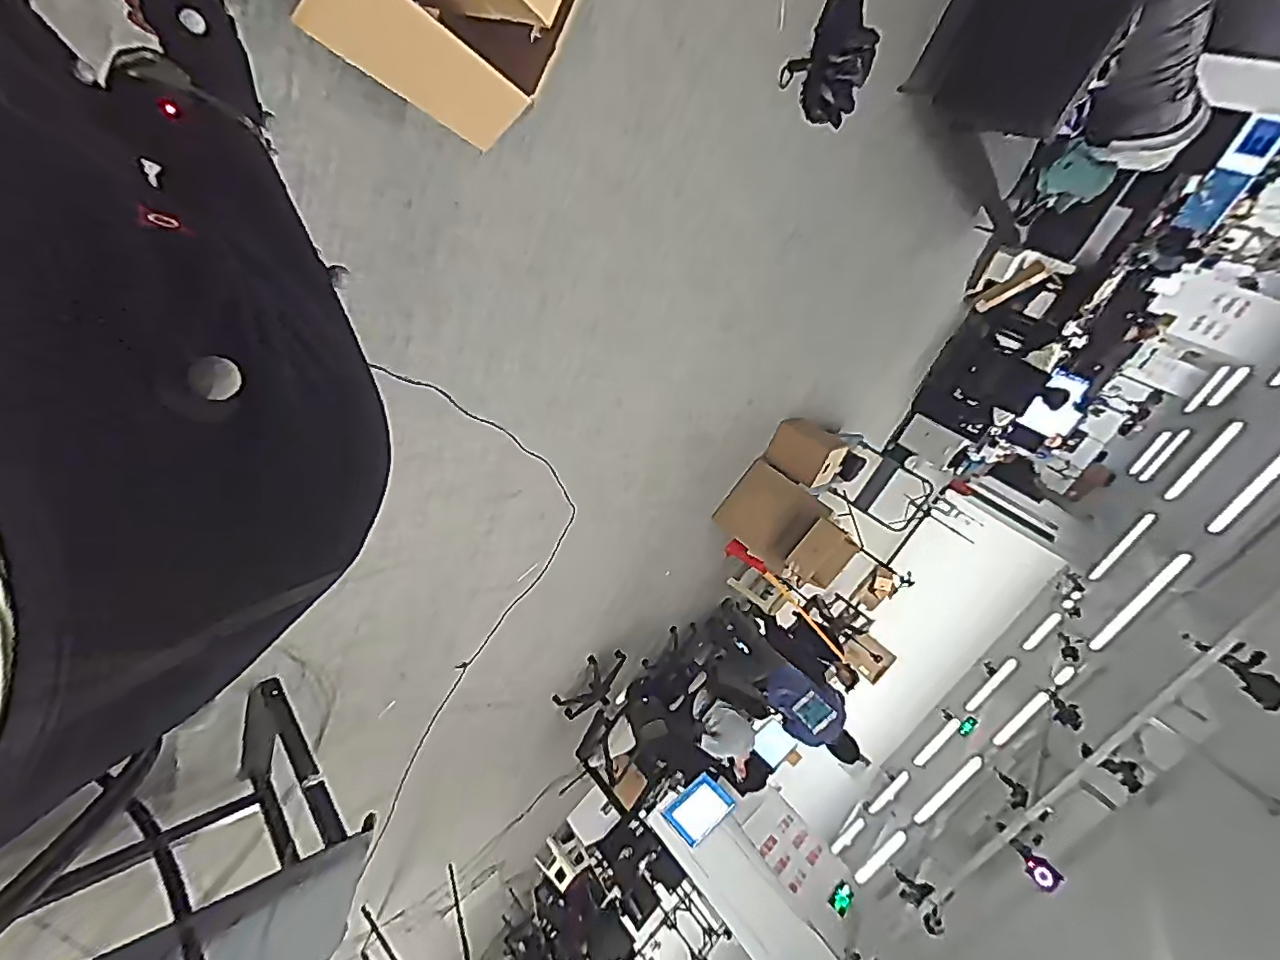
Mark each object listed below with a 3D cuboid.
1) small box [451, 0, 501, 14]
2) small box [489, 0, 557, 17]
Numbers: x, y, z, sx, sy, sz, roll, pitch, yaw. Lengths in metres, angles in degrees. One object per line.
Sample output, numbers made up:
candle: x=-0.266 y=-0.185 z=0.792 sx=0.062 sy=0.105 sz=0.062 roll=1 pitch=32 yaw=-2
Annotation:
small box: x=-0.321 y=-0.946 z=0.912 sx=0.179 sy=0.176 sz=0.168 roll=5 pitch=118 yaw=-53
small box: x=-0.213 y=-0.861 z=0.825 sx=0.179 sy=0.176 sz=0.168 roll=4 pitch=121 yaw=-53
